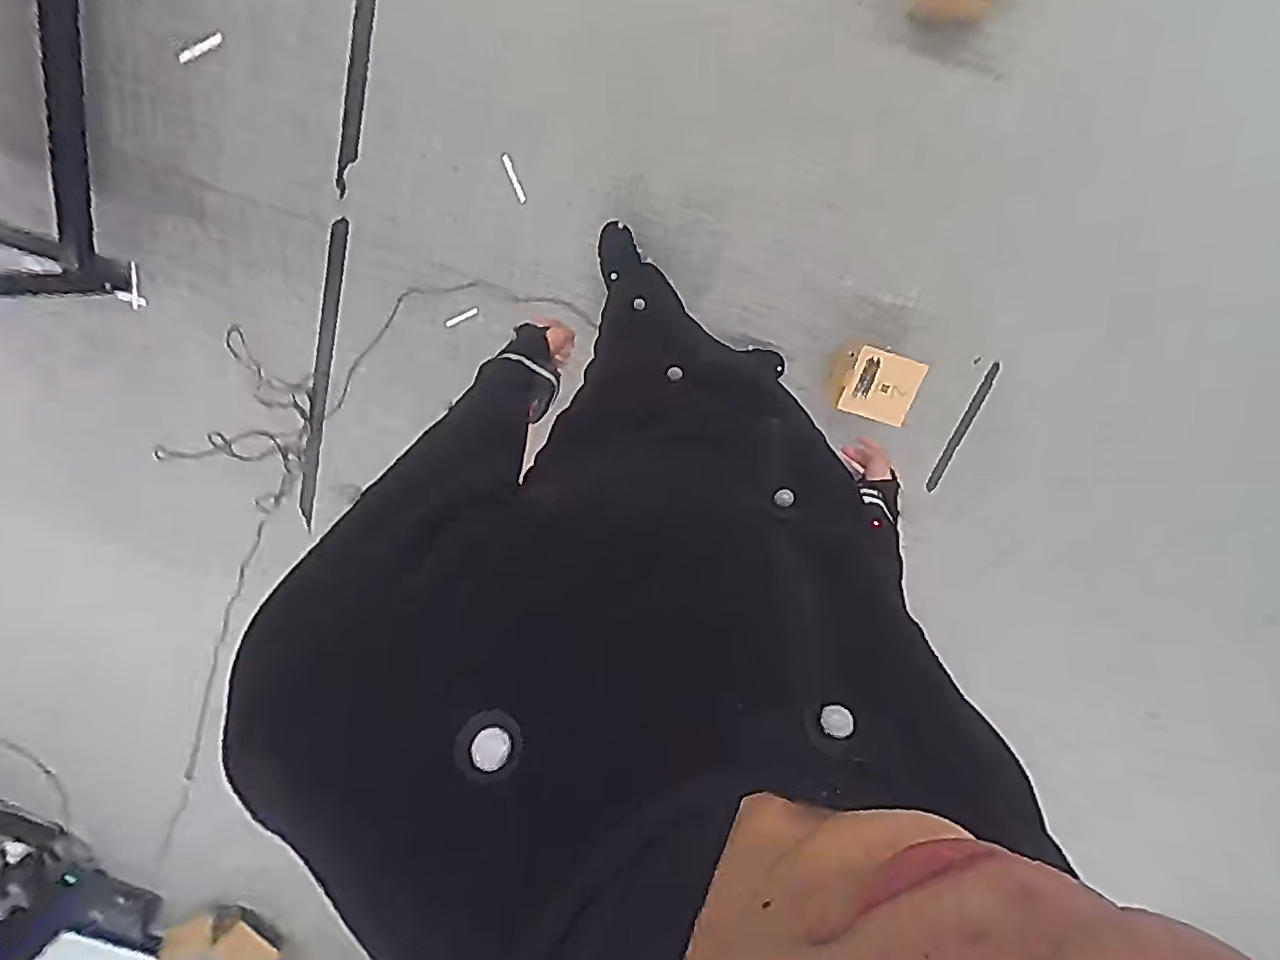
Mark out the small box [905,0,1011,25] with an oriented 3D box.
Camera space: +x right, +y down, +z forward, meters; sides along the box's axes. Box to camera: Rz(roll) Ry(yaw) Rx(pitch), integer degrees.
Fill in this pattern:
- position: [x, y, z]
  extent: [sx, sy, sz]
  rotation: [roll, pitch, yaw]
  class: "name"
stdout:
- position: [0.683, -1.078, 1.114]
  extent: [0.179, 0.176, 0.168]
  rotation: [10, 112, 3]
  class: "small box"
